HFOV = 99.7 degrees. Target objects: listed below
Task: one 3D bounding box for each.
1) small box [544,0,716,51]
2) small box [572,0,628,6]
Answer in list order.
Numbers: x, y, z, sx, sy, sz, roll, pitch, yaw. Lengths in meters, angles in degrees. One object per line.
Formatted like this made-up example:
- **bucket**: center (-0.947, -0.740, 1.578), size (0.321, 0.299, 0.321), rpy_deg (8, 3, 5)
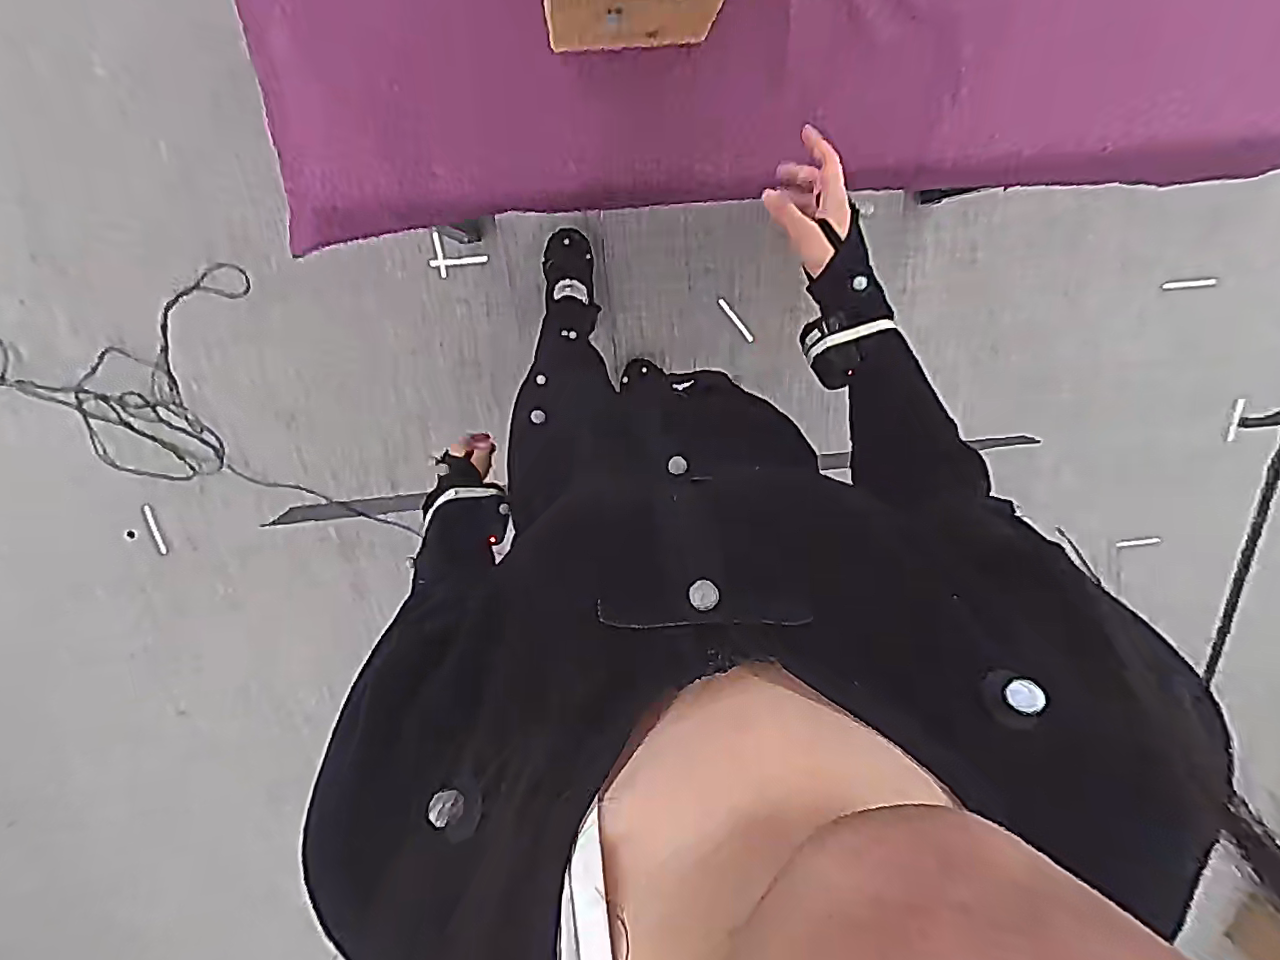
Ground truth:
- **small box**: center (-0.013, -0.517, 0.484), size (0.168, 0.176, 0.179), rpy_deg (-7, 110, -3)
- **small box**: center (0.006, -0.438, 0.338), size (0.168, 0.176, 0.179), rpy_deg (-8, 110, -3)
